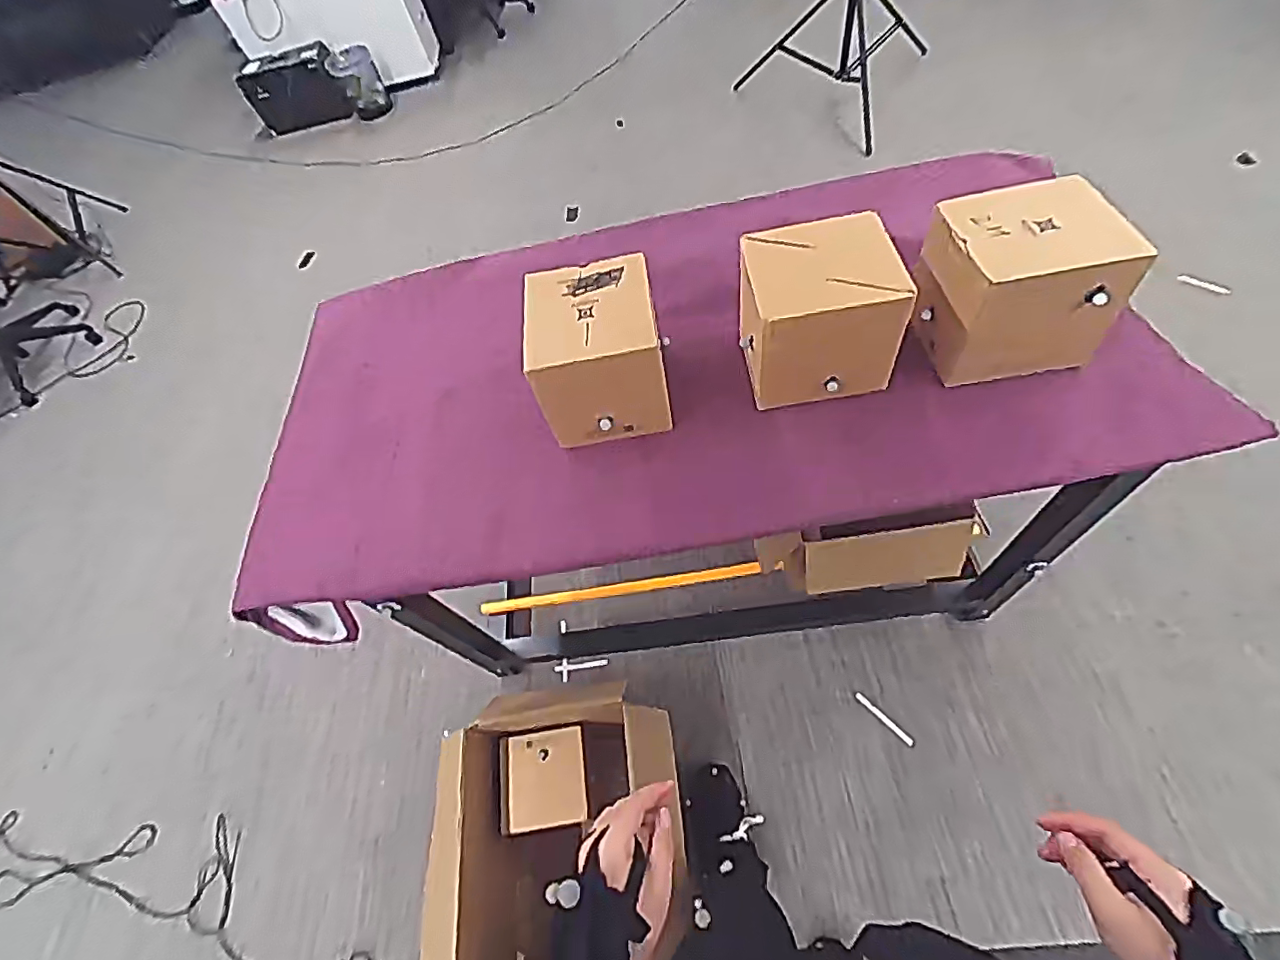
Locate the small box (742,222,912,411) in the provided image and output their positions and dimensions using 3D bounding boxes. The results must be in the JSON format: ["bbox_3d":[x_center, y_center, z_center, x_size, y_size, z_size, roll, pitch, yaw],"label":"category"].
[{"bbox_3d":[0.235,-0.219,0.728,0.179,0.176,0.168,-8,56,7],"label":"small box"}]

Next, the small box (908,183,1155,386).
[{"bbox_3d":[0.478,-0.245,0.697,0.179,0.176,0.168,-8,55,6],"label":"small box"}]

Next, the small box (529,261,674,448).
[{"bbox_3d":[-0.048,-0.170,0.759,0.168,0.176,0.179,-9,58,5],"label":"small box"}]
